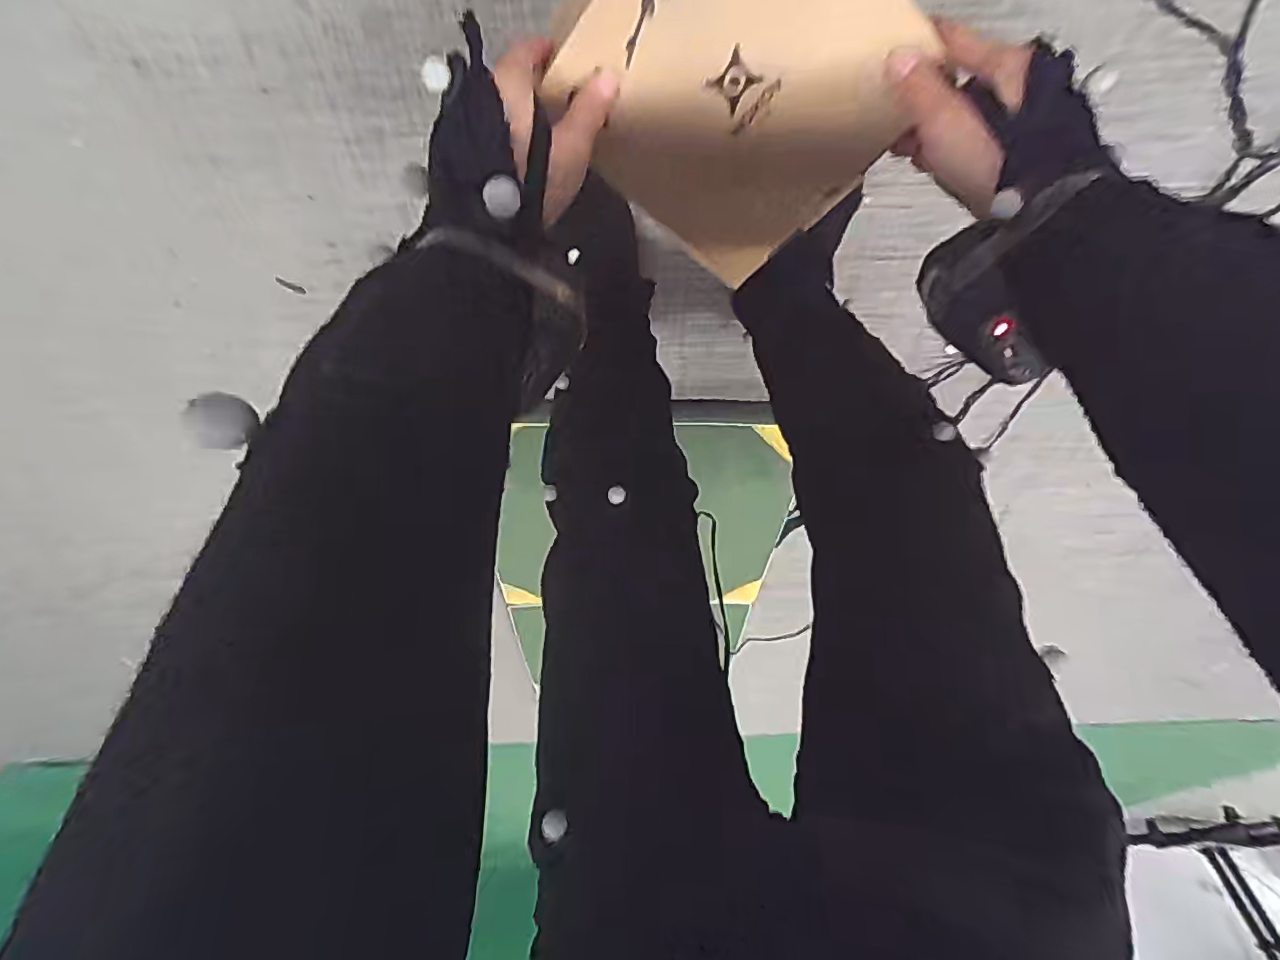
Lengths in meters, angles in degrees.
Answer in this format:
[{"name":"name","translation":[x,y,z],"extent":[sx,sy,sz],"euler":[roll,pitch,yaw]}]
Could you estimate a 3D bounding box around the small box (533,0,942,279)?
[{"name":"small box","translation":[0.052,-0.280,0.353],"extent":[0.179,0.176,0.168],"euler":[28,131,-33]}]
